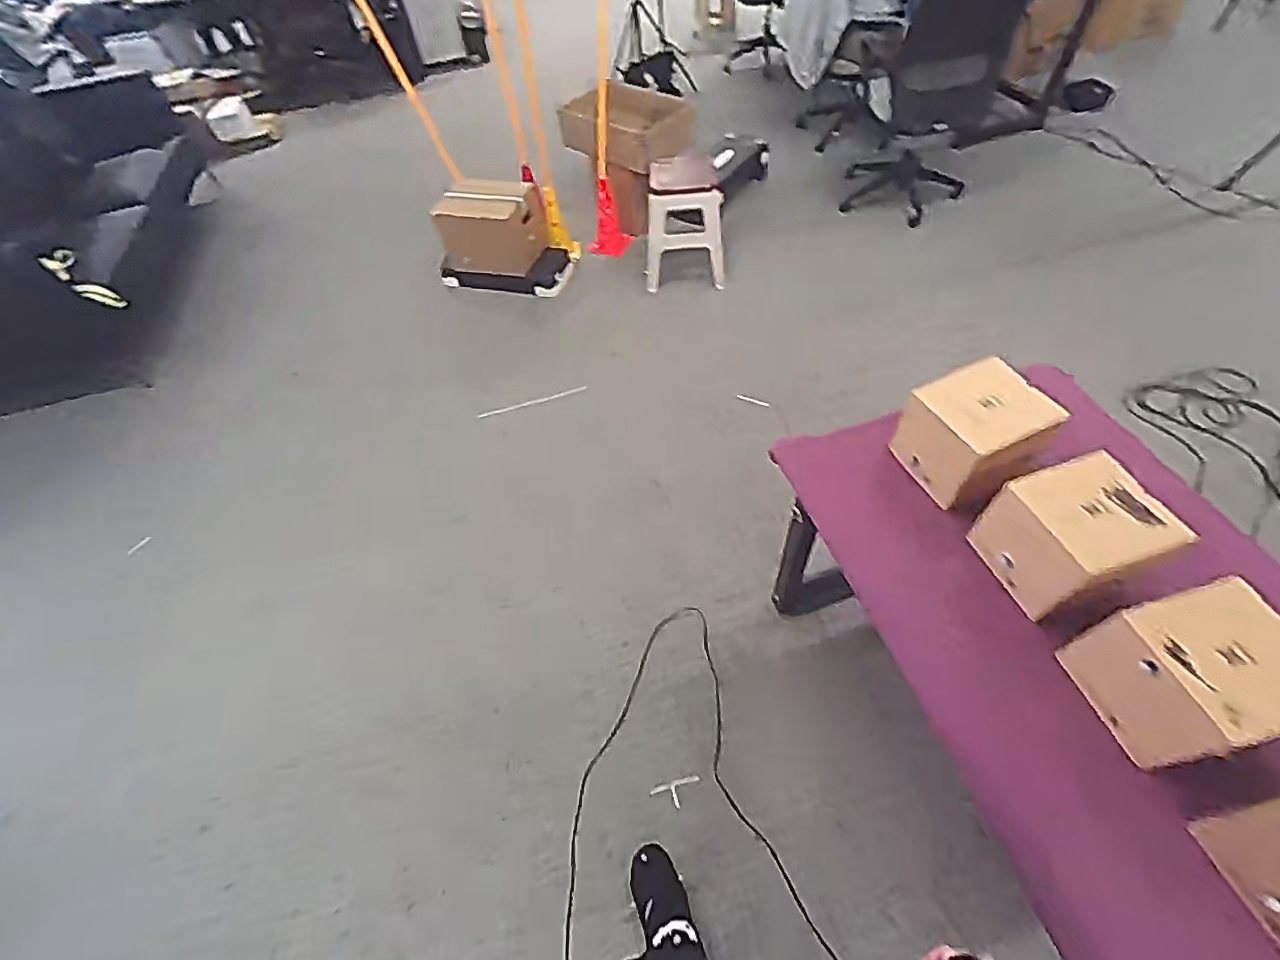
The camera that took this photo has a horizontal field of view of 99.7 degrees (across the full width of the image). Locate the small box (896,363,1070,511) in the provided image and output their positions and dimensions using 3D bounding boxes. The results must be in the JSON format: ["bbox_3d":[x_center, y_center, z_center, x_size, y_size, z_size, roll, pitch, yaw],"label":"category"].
[{"bbox_3d":[0.597,-0.075,0.971,0.179,0.176,0.168,-21,53,-7],"label":"small box"}]

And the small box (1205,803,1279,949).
[{"bbox_3d":[0.788,0.433,0.570,0.179,0.176,0.168,-16,53,-4],"label":"small box"}]

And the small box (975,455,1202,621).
[{"bbox_3d":[0.670,0.094,0.837,0.179,0.176,0.168,-18,53,-4],"label":"small box"}]
